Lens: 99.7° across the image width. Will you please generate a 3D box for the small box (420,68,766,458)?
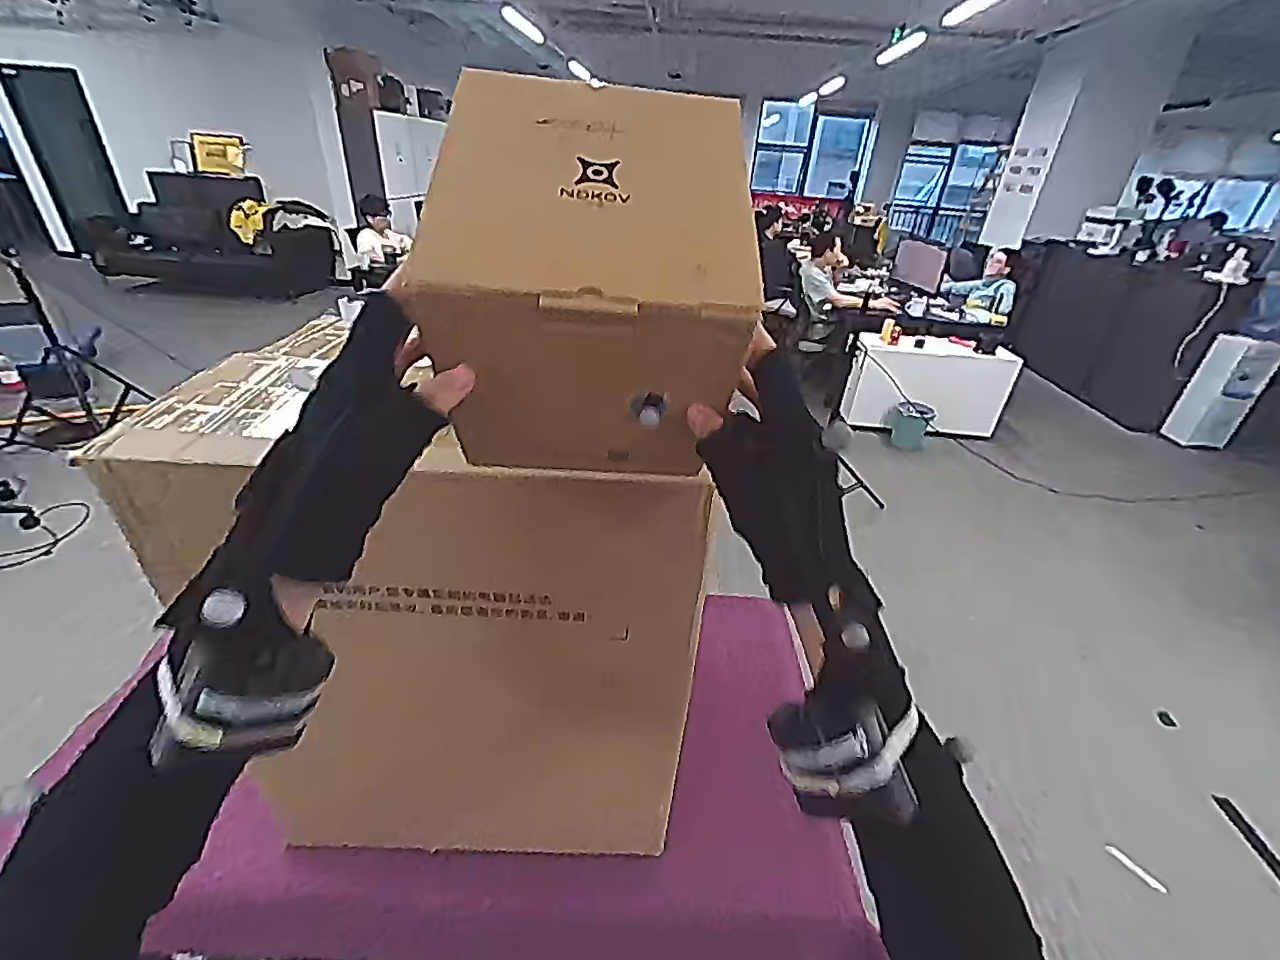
[{"bbox_3d":[-0.027,-0.130,0.360,0.168,0.176,0.179,3,60,-5],"label":"small box"}]
